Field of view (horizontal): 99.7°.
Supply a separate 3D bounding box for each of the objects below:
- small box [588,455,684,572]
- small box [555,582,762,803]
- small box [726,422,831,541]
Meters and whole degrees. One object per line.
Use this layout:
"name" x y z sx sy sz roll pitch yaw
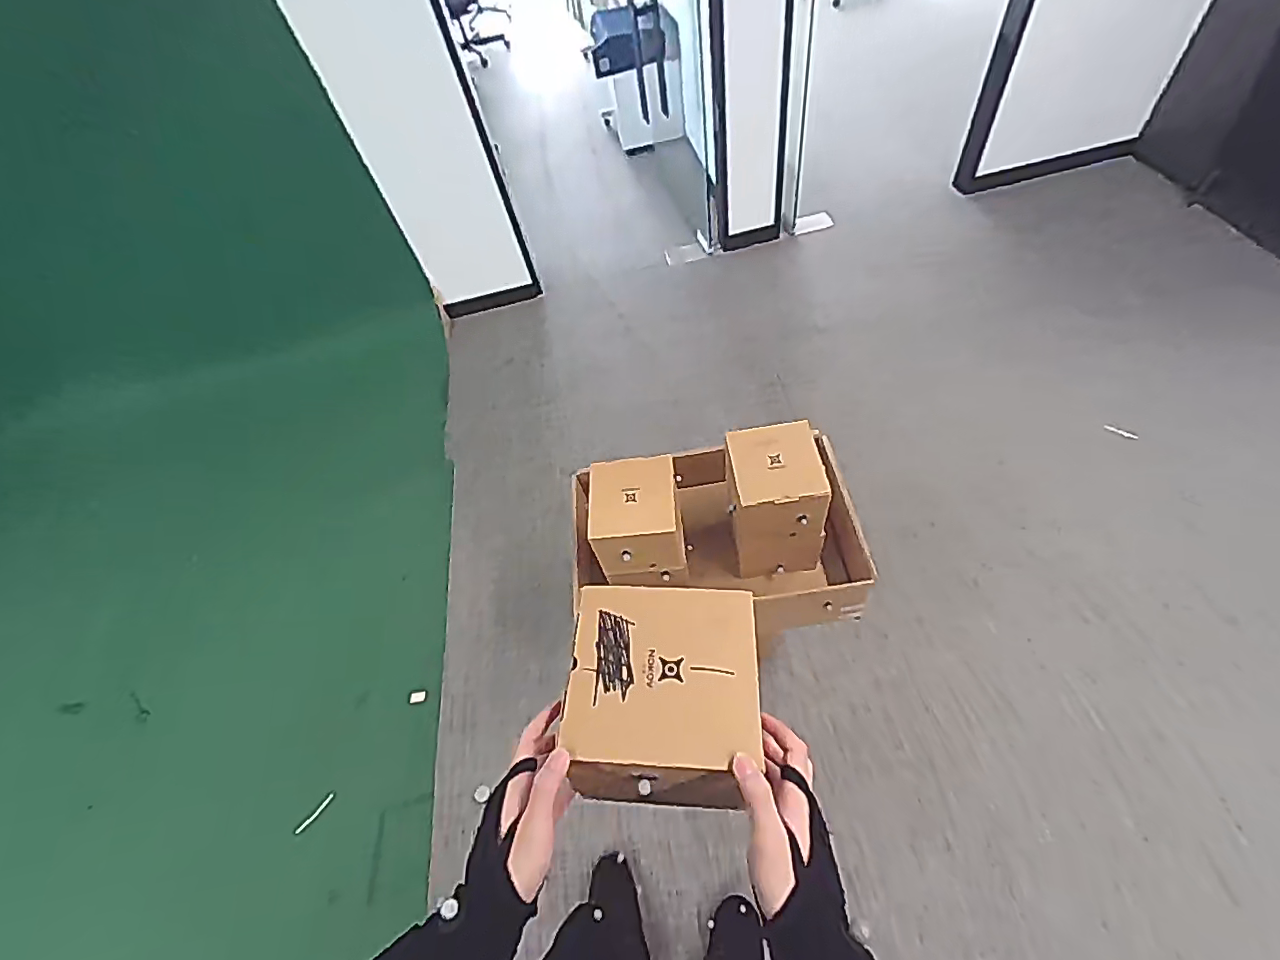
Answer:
"small box" -0.004 0.075 1.089 0.168 0.176 0.179 -6 54 7
"small box" 0.025 0.221 0.558 0.179 0.176 0.168 1 50 5
"small box" 0.268 0.011 1.080 0.168 0.176 0.179 -8 55 4
